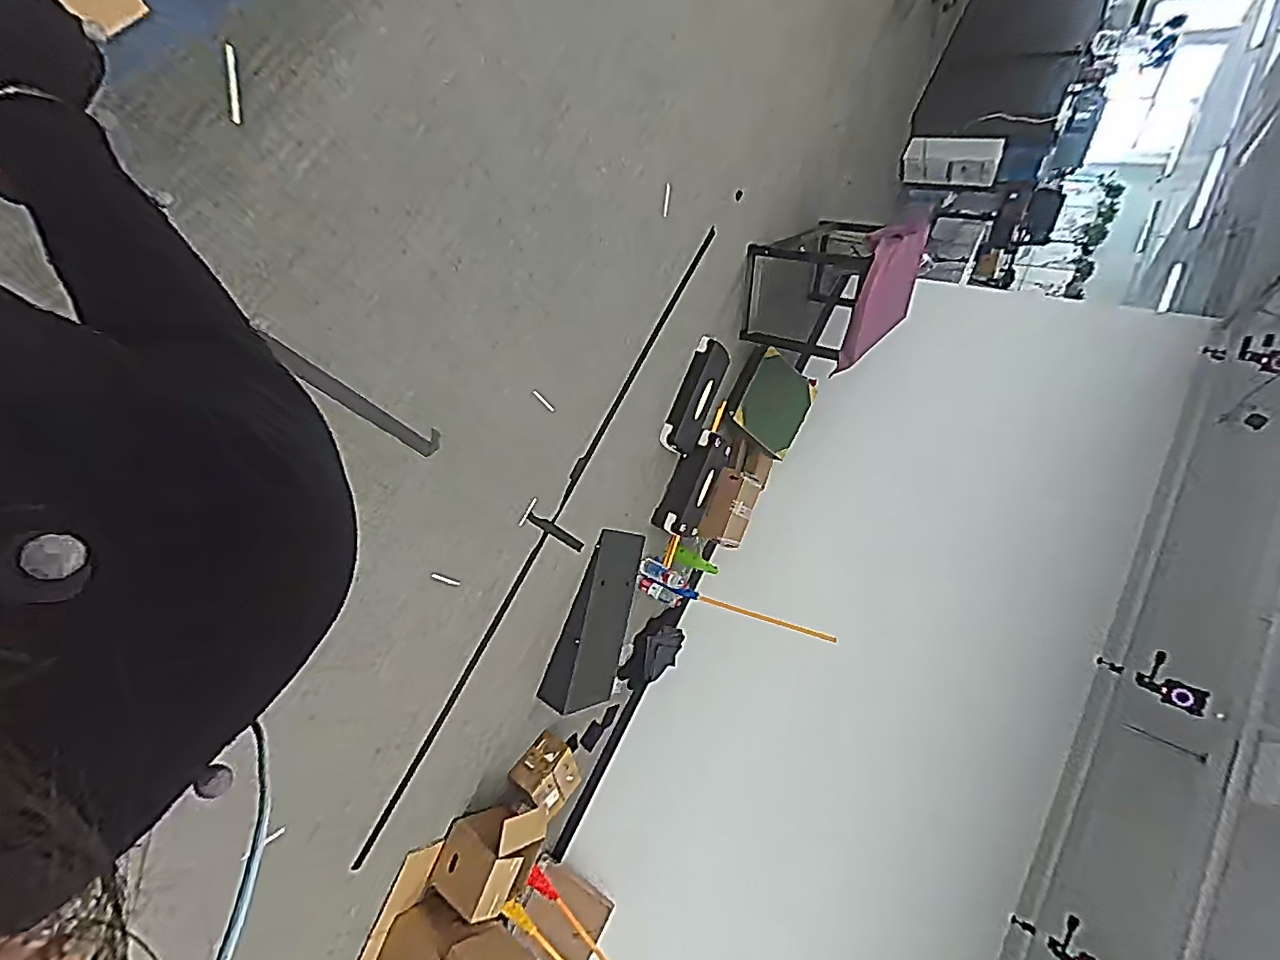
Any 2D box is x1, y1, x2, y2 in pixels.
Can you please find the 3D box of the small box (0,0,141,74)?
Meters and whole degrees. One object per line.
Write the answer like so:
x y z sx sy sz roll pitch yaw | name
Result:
-0.841 -0.672 0.719 0.179 0.176 0.168 -57 149 -19 | small box
